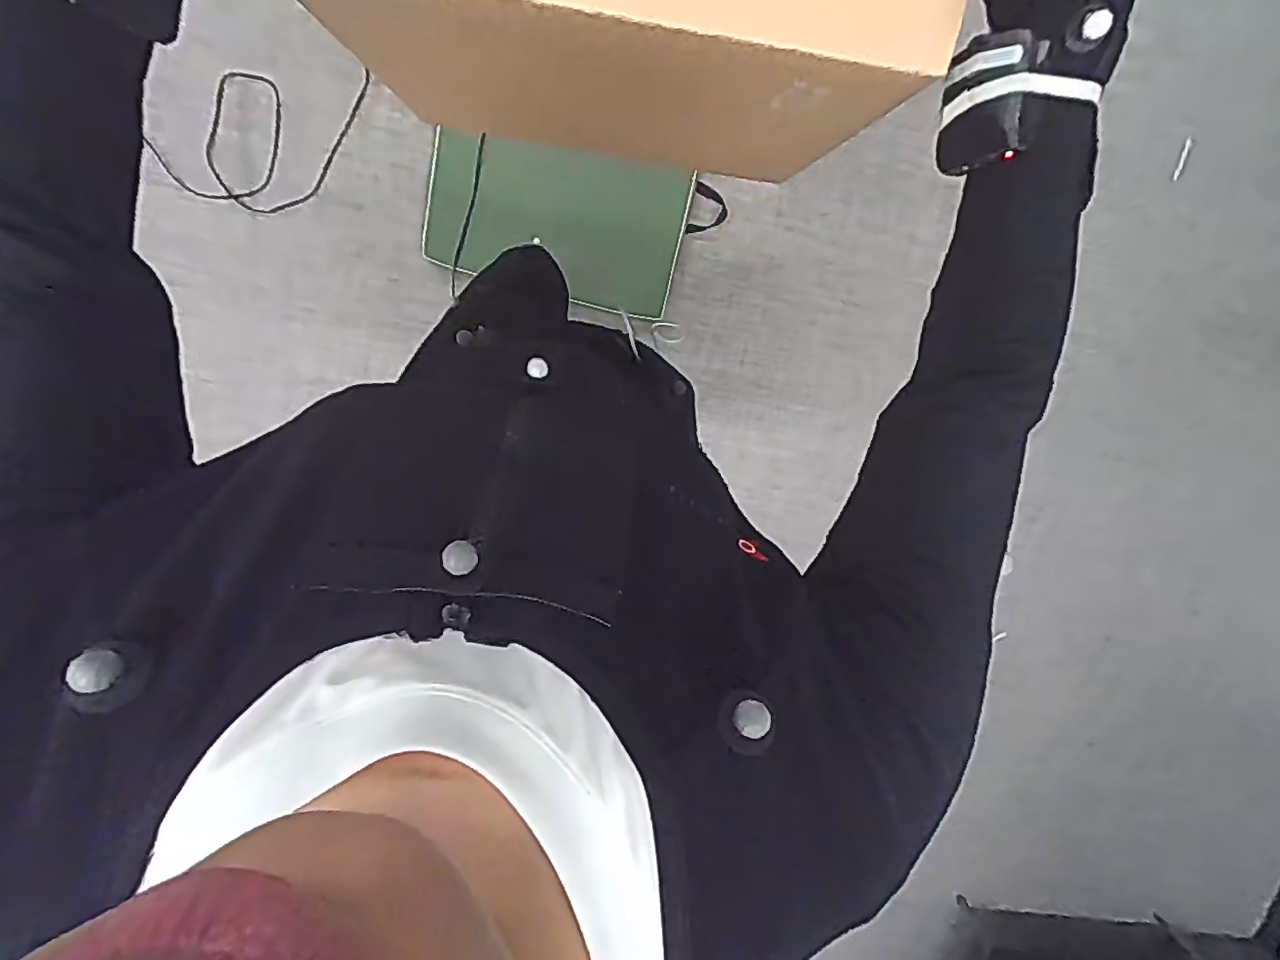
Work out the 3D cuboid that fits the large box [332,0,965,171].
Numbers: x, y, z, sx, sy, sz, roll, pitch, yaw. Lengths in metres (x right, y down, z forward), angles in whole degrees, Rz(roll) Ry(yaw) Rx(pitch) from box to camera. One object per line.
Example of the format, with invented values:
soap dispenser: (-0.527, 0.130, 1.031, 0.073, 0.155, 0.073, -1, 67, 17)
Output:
large box: (0.001, -0.464, 0.411, 0.408, 0.320, 0.320, 5, 109, -7)
